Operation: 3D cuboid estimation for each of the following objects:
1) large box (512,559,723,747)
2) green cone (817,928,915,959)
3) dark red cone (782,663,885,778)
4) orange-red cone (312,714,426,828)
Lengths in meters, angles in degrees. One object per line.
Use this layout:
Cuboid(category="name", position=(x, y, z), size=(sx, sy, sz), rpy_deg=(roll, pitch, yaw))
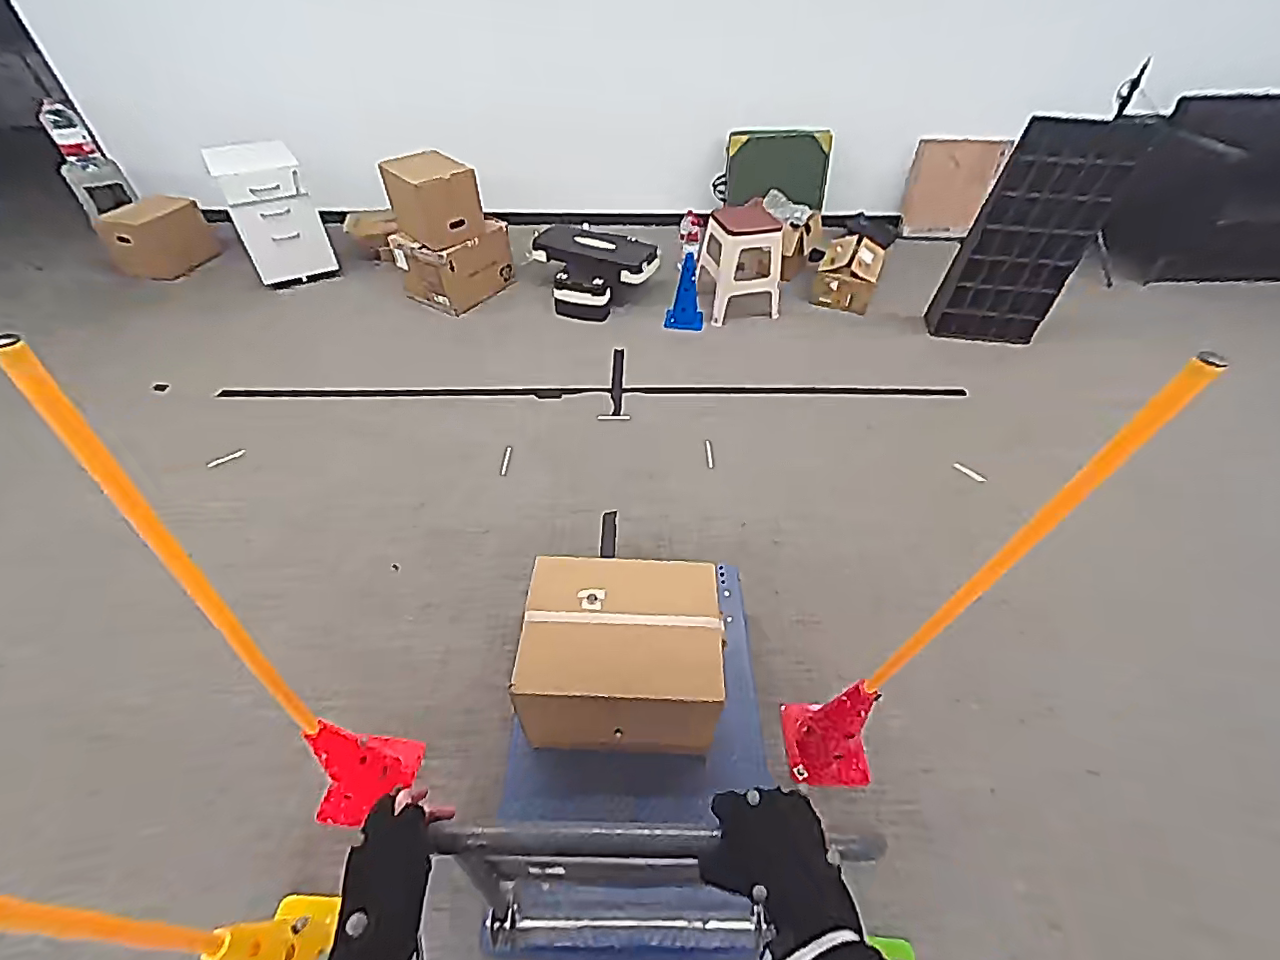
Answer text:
Cuboid(category="large box", position=(-0.038, 0.394, 1.223), size=(0.408, 0.320, 0.320), rpy_deg=(2, 46, 2))
Cuboid(category="green cone", position=(0.465, 0.899, 0.942), size=(0.202, 0.368, 0.200), rpy_deg=(4, 46, 1))
Cuboid(category="dark red cone", position=(0.484, 0.539, 1.267), size=(0.201, 0.394, 0.202), rpy_deg=(2, 46, -2))
Cuboid(category="orange-red cone", position=(-0.646, 0.609, 1.209), size=(0.198, 0.360, 0.199), rpy_deg=(7, 45, 4))
